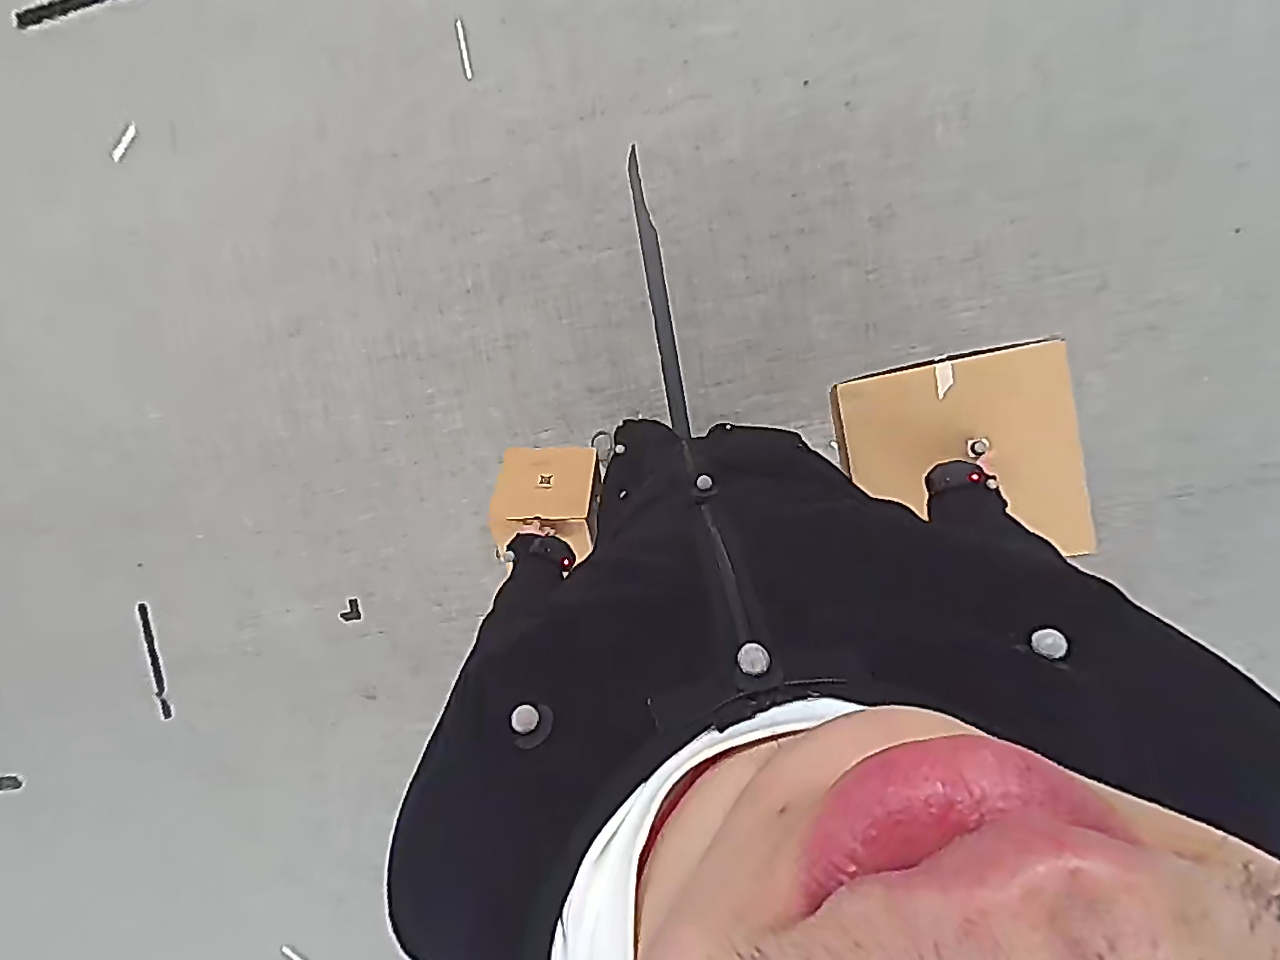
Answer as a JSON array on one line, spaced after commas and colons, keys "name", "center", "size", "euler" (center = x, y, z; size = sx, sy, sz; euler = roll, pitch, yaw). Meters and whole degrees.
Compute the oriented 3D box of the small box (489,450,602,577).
[{"name": "small box", "center": [-0.161, 0.063, 0.994], "size": [0.168, 0.179, 0.176], "euler": [0, 135, 2]}]
